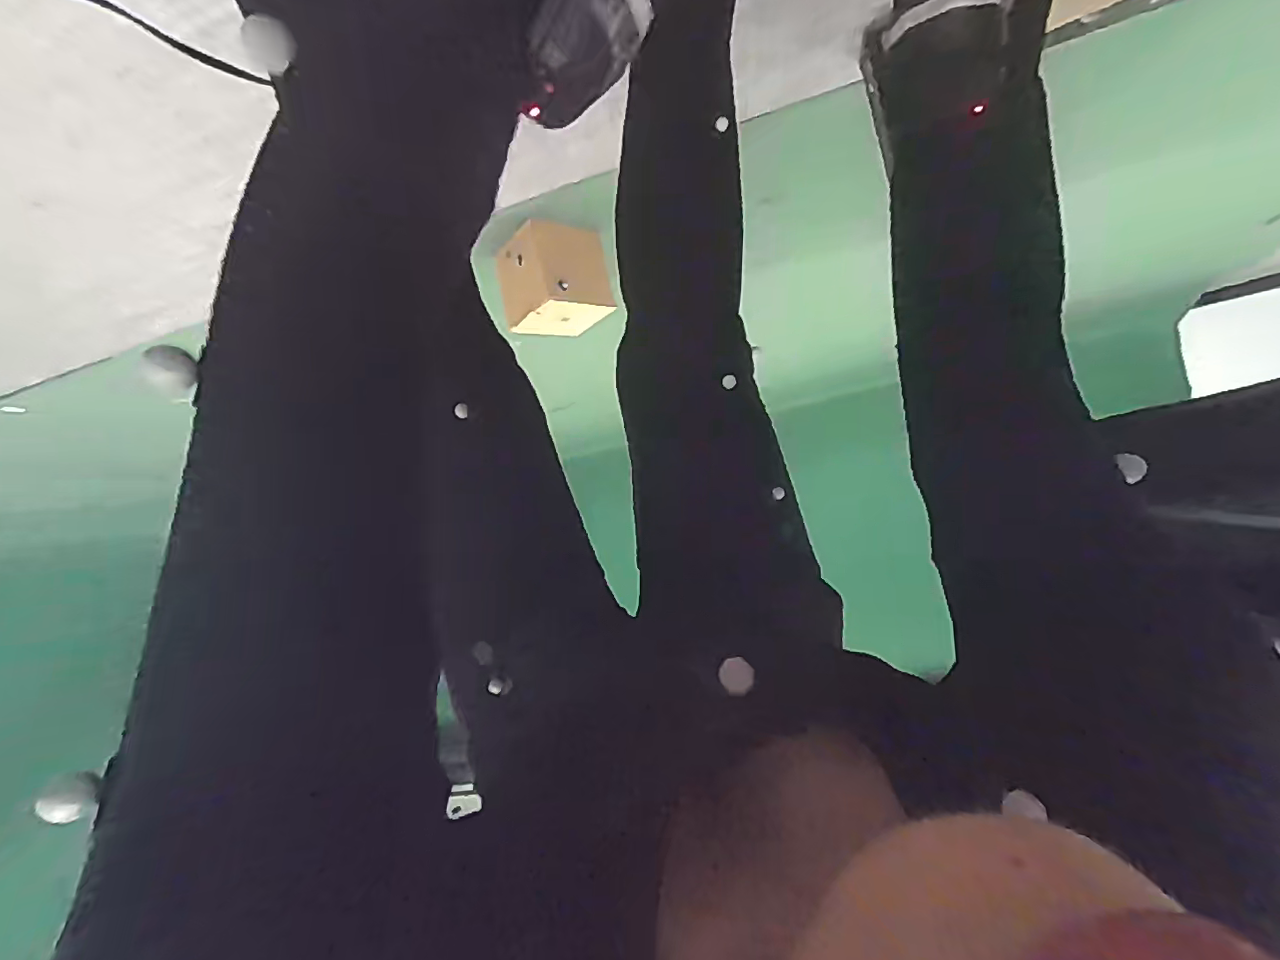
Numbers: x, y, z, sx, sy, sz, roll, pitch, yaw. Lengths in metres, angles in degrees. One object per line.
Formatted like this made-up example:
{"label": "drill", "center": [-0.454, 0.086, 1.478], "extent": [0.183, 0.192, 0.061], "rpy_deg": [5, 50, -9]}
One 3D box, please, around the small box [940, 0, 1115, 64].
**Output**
{"label": "small box", "center": [0.386, -0.566, 0.514], "extent": [0.179, 0.176, 0.168], "rpy_deg": [-13, 178, 19]}

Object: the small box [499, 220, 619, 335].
{"label": "small box", "center": [-0.172, -0.419, 1.138], "extent": [0.179, 0.176, 0.168], "rpy_deg": [-9, 176, -40]}
